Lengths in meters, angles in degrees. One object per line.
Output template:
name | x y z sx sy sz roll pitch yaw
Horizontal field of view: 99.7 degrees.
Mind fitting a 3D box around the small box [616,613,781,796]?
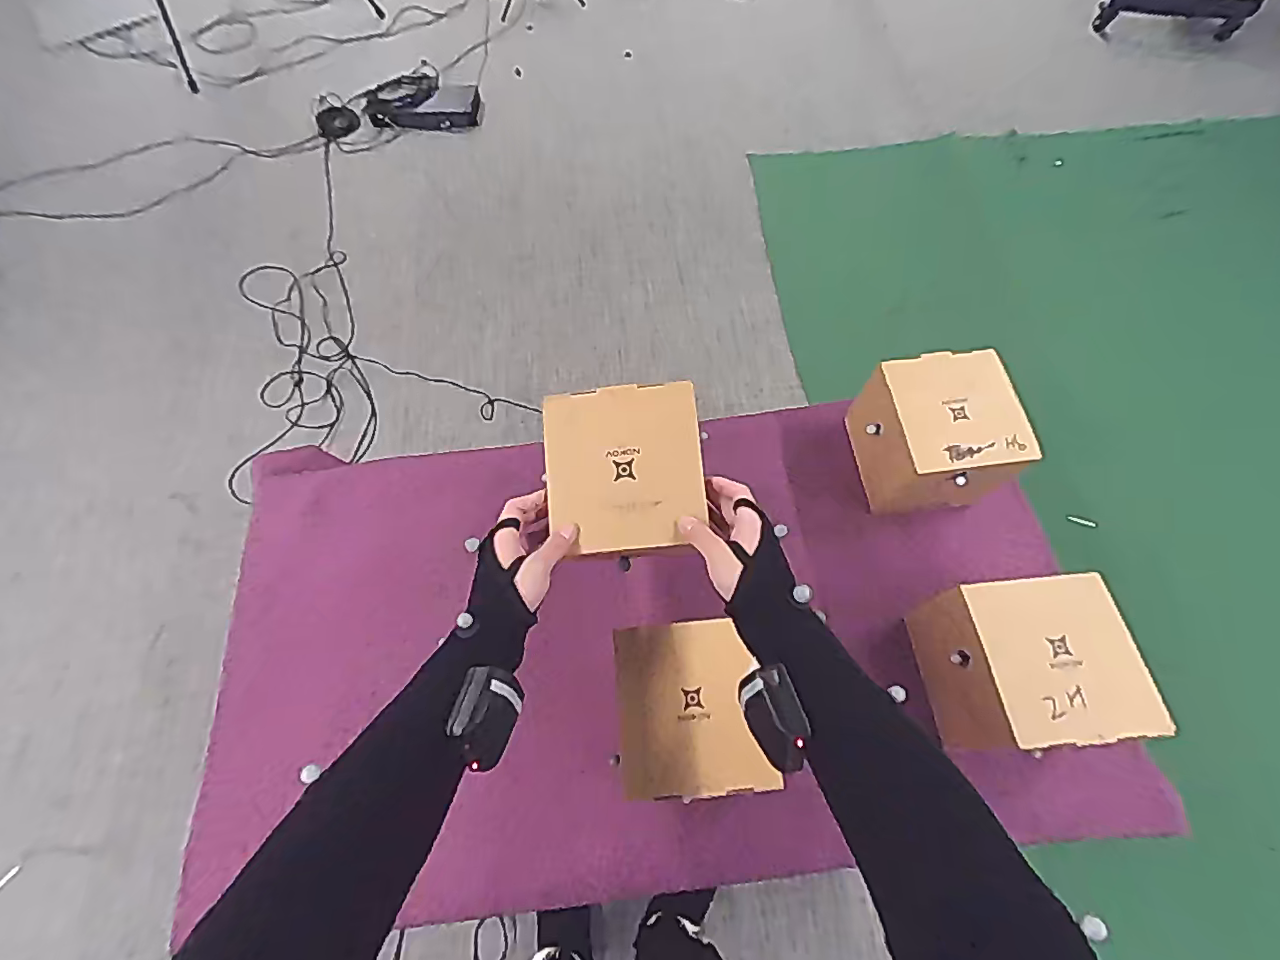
small box | 0.057 0.272 0.655 0.168 0.176 0.179 -5 65 -1

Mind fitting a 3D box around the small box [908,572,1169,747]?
small box | 0.459 0.225 0.663 0.168 0.176 0.179 -5 64 0

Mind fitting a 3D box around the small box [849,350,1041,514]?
small box | 0.429 -0.065 0.798 0.168 0.176 0.179 -6 67 1

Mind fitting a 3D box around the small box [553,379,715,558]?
small box | -0.006 -0.004 0.646 0.168 0.176 0.179 -5 79 2
